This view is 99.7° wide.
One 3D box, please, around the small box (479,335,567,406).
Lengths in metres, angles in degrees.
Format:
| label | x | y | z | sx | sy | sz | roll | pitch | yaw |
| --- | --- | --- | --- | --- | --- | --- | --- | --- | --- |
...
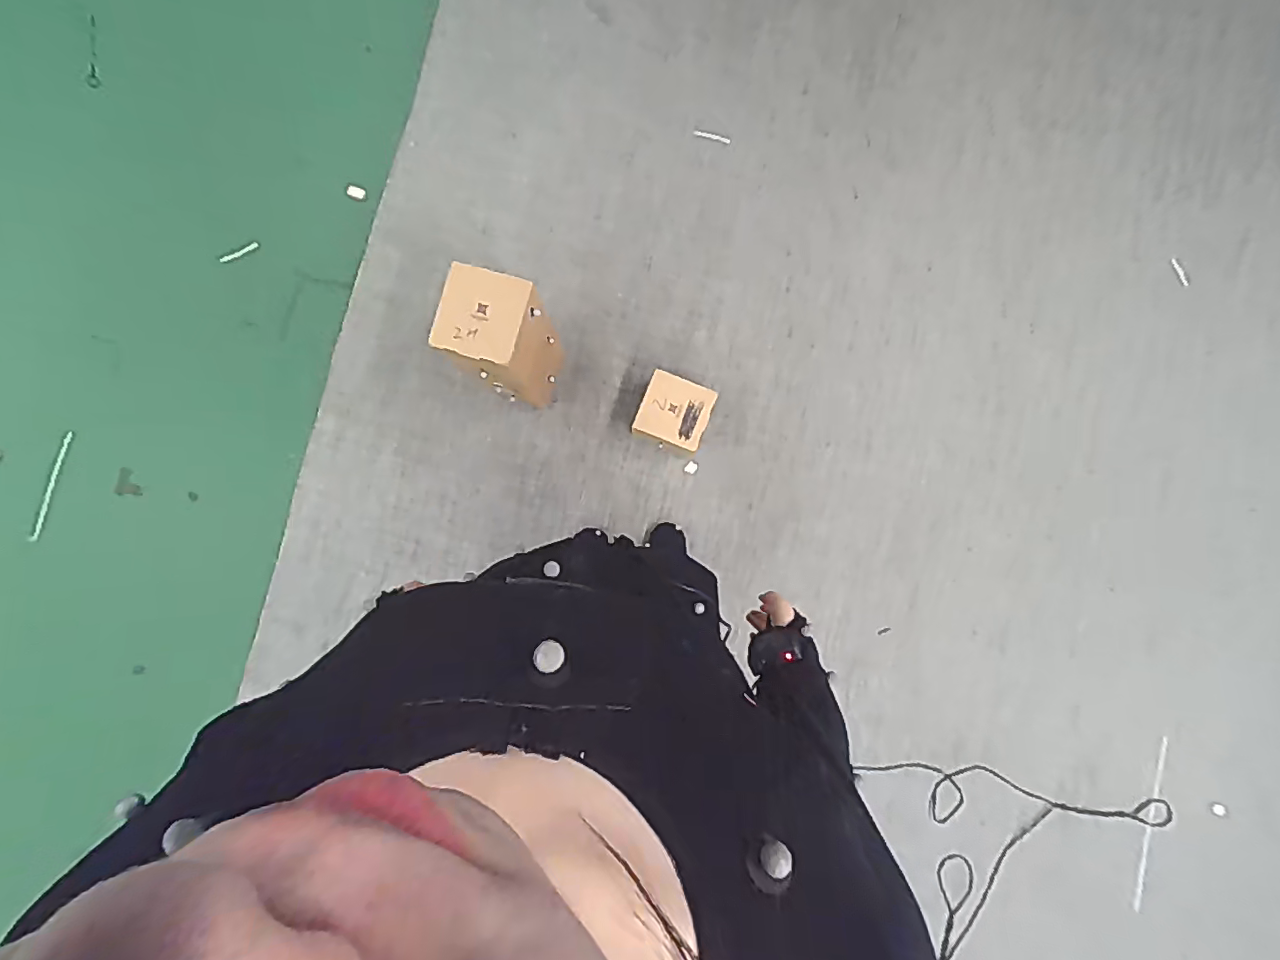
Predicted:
| label | x | y | z | sx | sy | sz | roll | pitch | yaw |
| --- | --- | --- | --- | --- | --- | --- | --- | --- | --- |
| small box | -0.304 | -0.309 | 1.442 | 0.168 | 0.176 | 0.179 | 19 | 88 | 0 |

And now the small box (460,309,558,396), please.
| label | x | y | z | sx | sy | sz | roll | pitch | yaw |
| --- | --- | --- | --- | --- | --- | --- | --- | --- | --- |
| small box | -0.301 | -0.315 | 1.280 | 0.168 | 0.176 | 0.179 | 15 | 88 | 2 |

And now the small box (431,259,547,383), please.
| label | x | y | z | sx | sy | sz | roll | pitch | yaw |
| --- | --- | --- | --- | --- | --- | --- | --- | --- | --- |
| small box | -0.299 | -0.319 | 1.115 | 0.168 | 0.176 | 0.179 | 16 | 87 | 2 |
